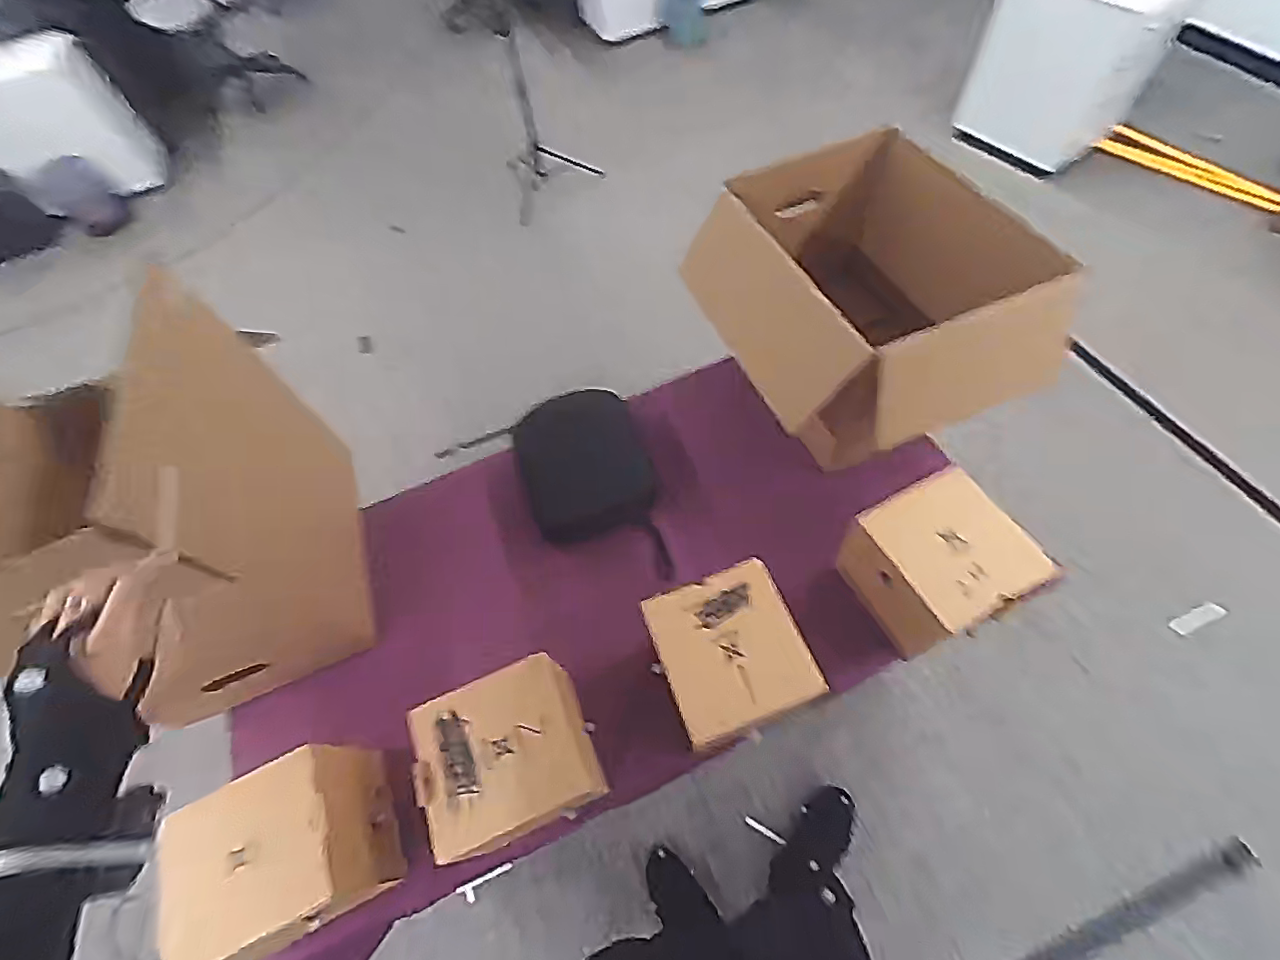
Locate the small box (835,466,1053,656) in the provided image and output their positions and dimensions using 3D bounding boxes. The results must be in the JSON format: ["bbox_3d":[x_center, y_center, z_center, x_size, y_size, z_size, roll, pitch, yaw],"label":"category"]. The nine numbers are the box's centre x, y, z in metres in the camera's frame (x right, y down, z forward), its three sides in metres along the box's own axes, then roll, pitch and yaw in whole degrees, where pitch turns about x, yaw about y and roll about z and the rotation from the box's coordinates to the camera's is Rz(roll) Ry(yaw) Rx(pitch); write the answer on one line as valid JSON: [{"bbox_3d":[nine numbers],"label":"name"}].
[{"bbox_3d":[0.400,0.118,0.754,0.168,0.176,0.179,-26,61,-7],"label":"small box"}]

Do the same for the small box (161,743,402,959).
[{"bbox_3d":[-0.424,0.449,0.657,0.179,0.176,0.168,-26,61,-10],"label":"small box"}]

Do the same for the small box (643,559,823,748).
[{"bbox_3d":[0.112,0.236,0.720,0.168,0.176,0.179,-21,61,-5],"label":"small box"}]
